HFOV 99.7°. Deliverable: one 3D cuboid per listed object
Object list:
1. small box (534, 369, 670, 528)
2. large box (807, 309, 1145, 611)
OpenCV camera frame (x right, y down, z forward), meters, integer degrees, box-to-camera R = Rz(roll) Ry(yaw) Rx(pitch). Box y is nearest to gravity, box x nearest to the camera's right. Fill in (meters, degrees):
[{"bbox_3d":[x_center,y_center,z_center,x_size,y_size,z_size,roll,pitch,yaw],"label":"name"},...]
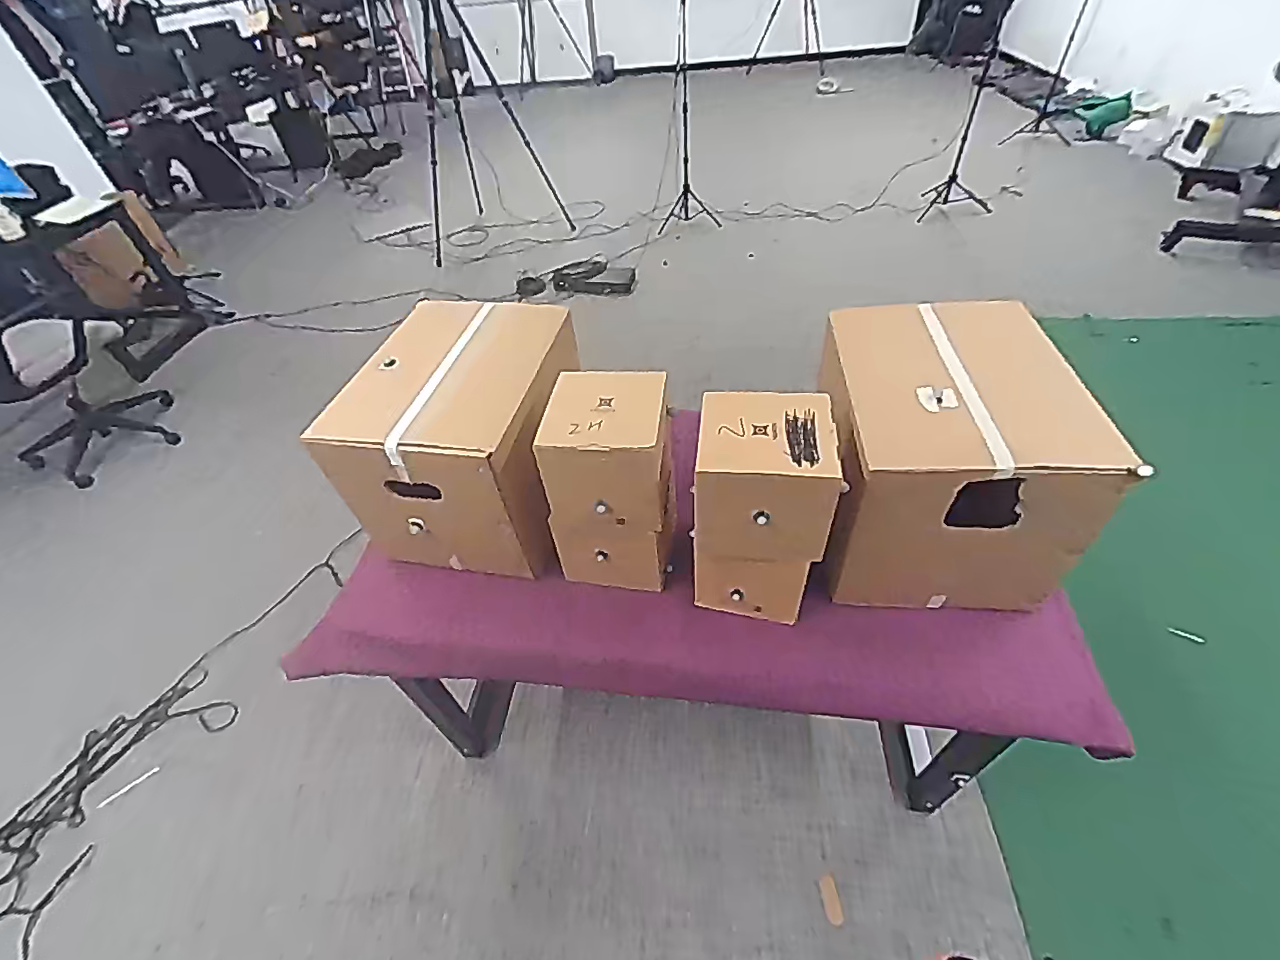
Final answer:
[{"bbox_3d":[-0.044,-0.049,0.818,0.168,0.176,0.179,2,46,9],"label":"small box"},{"bbox_3d":[0.473,-0.041,0.892,0.320,0.320,0.408,0,46,9],"label":"large box"}]
